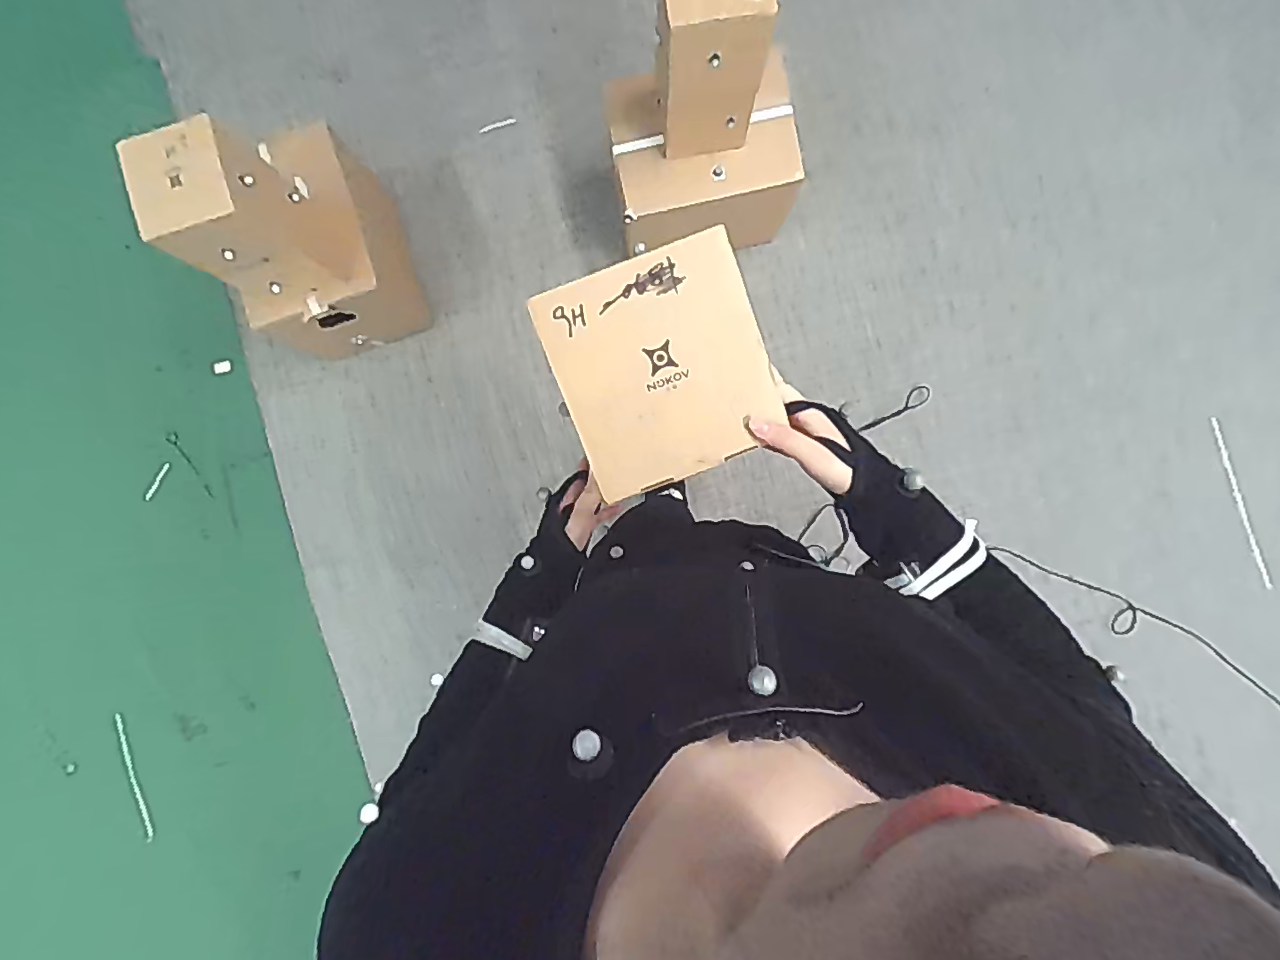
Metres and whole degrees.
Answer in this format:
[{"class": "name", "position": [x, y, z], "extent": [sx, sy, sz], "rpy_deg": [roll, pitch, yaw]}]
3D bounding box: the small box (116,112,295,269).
[{"class": "small box", "position": [-0.758, -0.498, 0.965], "extent": [0.168, 0.176, 0.179], "rpy_deg": [-16, 89, 1]}]

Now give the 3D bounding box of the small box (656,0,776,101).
[{"class": "small box", "position": [0.123, -0.805, 0.941], "extent": [0.179, 0.176, 0.168], "rpy_deg": [-7, 87, 2]}]

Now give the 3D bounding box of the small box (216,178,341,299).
[{"class": "small box", "position": [-0.762, -0.497, 1.130], "extent": [0.168, 0.176, 0.179], "rpy_deg": [-16, 88, 2]}]

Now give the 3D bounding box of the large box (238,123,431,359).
[{"class": "large box", "position": [-0.792, -0.575, 1.376], "extent": [0.320, 0.320, 0.408], "rpy_deg": [-18, 88, 1]}]

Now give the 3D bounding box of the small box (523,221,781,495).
[{"class": "small box", "position": [0.009, -0.108, 0.507], "extent": [0.168, 0.176, 0.179], "rpy_deg": [-21, 100, 0]}]

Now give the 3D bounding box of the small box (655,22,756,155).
[{"class": "small box", "position": [0.126, -0.802, 1.105], "extent": [0.179, 0.176, 0.168], "rpy_deg": [-9, 87, 2]}]
